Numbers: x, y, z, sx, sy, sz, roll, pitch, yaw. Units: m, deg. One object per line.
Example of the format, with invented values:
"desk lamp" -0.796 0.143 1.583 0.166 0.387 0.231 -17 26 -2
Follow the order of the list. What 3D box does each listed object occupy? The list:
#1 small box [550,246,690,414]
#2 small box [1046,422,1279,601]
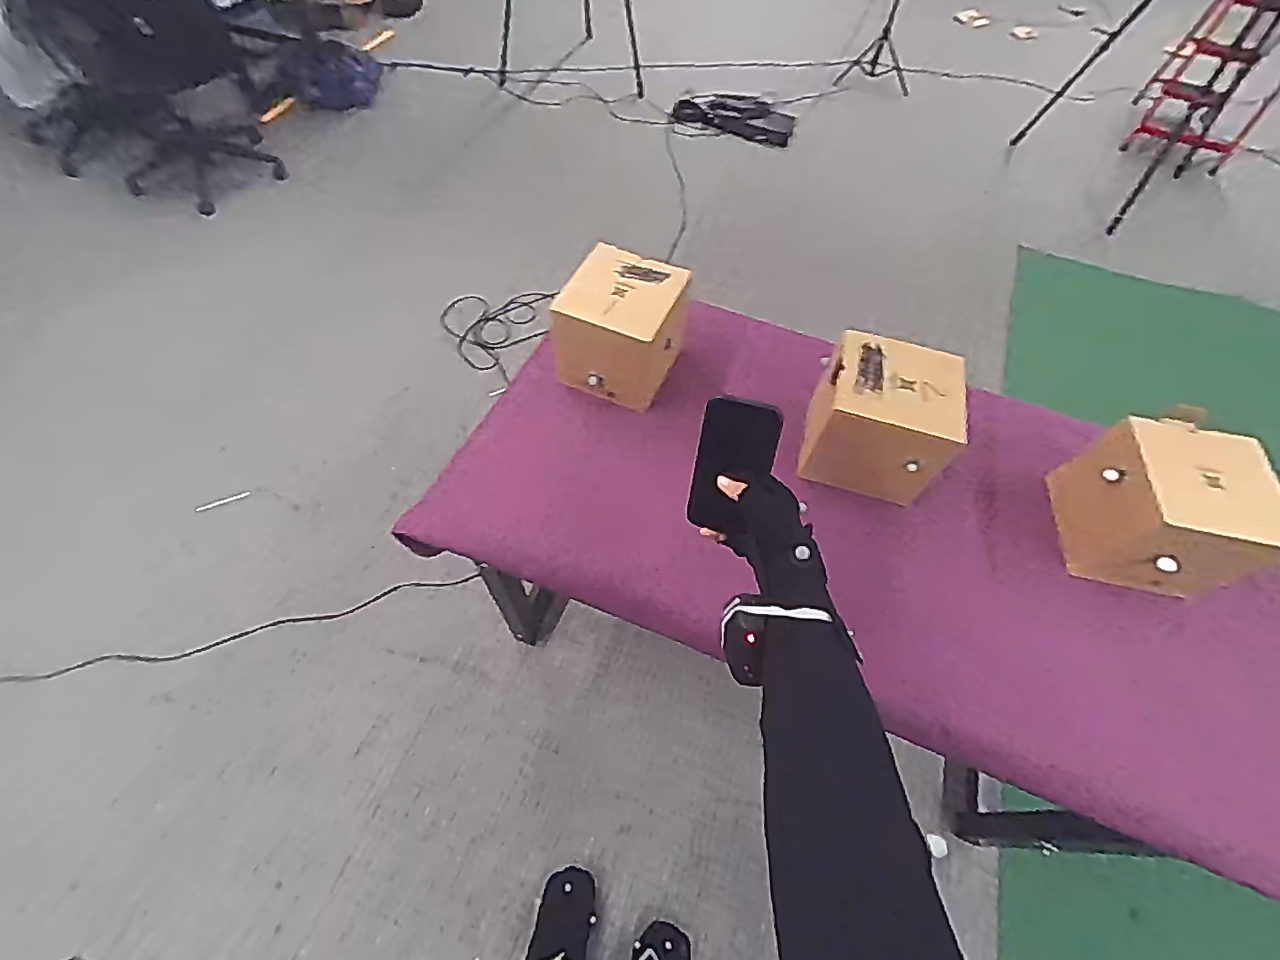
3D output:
"small box" -0.032 -0.244 0.892 0.168 0.176 0.179 22 61 10
"small box" 0.714 0.049 0.753 0.168 0.176 0.179 12 57 5
